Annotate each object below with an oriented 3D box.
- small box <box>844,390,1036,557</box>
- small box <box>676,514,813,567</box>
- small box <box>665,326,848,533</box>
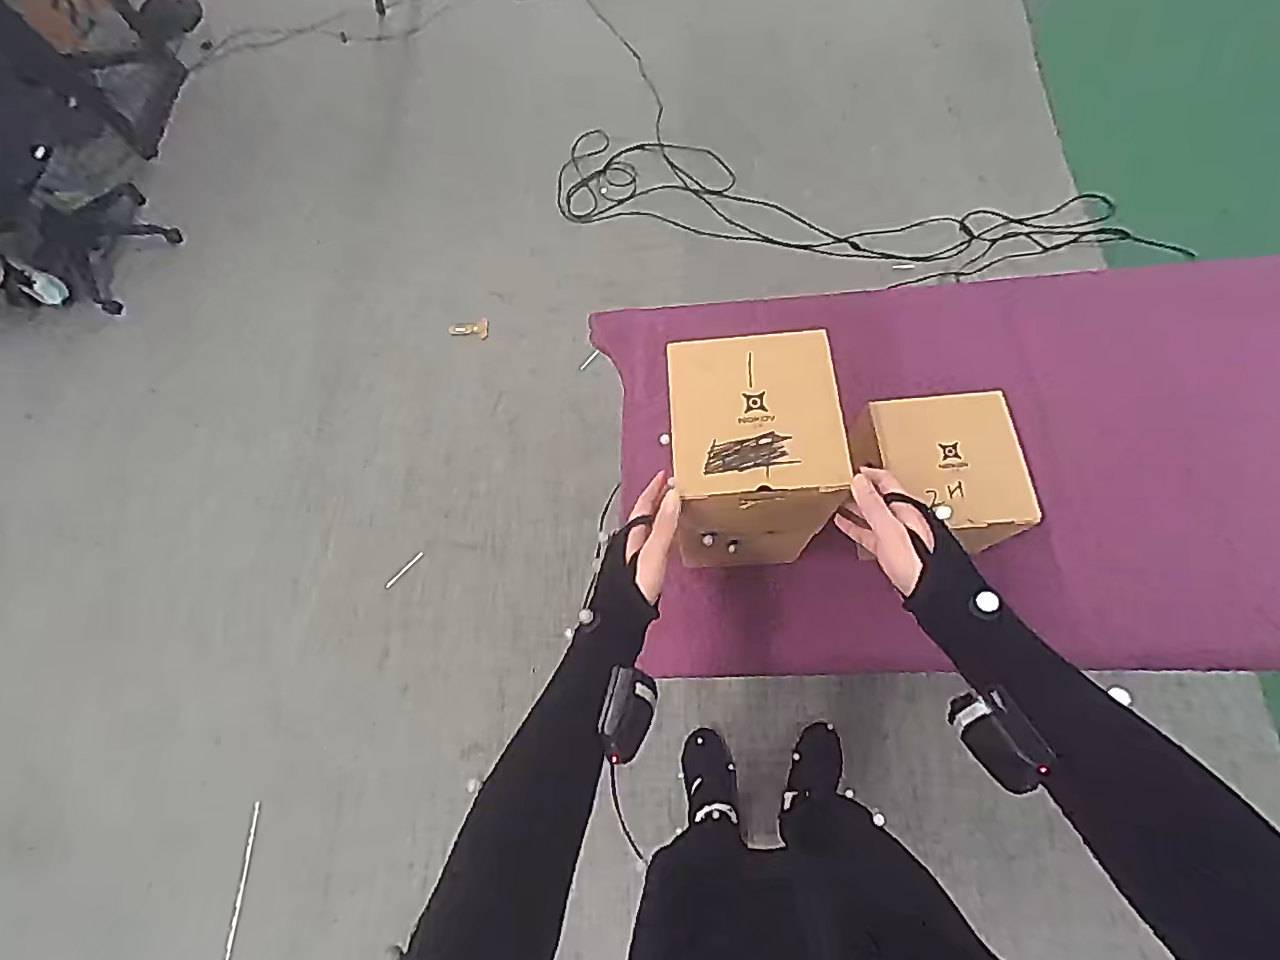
[{"bbox_3d":[0.383,-0.002,0.735,0.168,0.176,0.179,-4,69,5],"label":"small box"},{"bbox_3d":[0.133,0.015,0.756,0.168,0.176,0.179,-4,68,6],"label":"small box"},{"bbox_3d":[0.117,-0.043,0.603,0.168,0.176,0.179,-4,68,5],"label":"small box"}]
